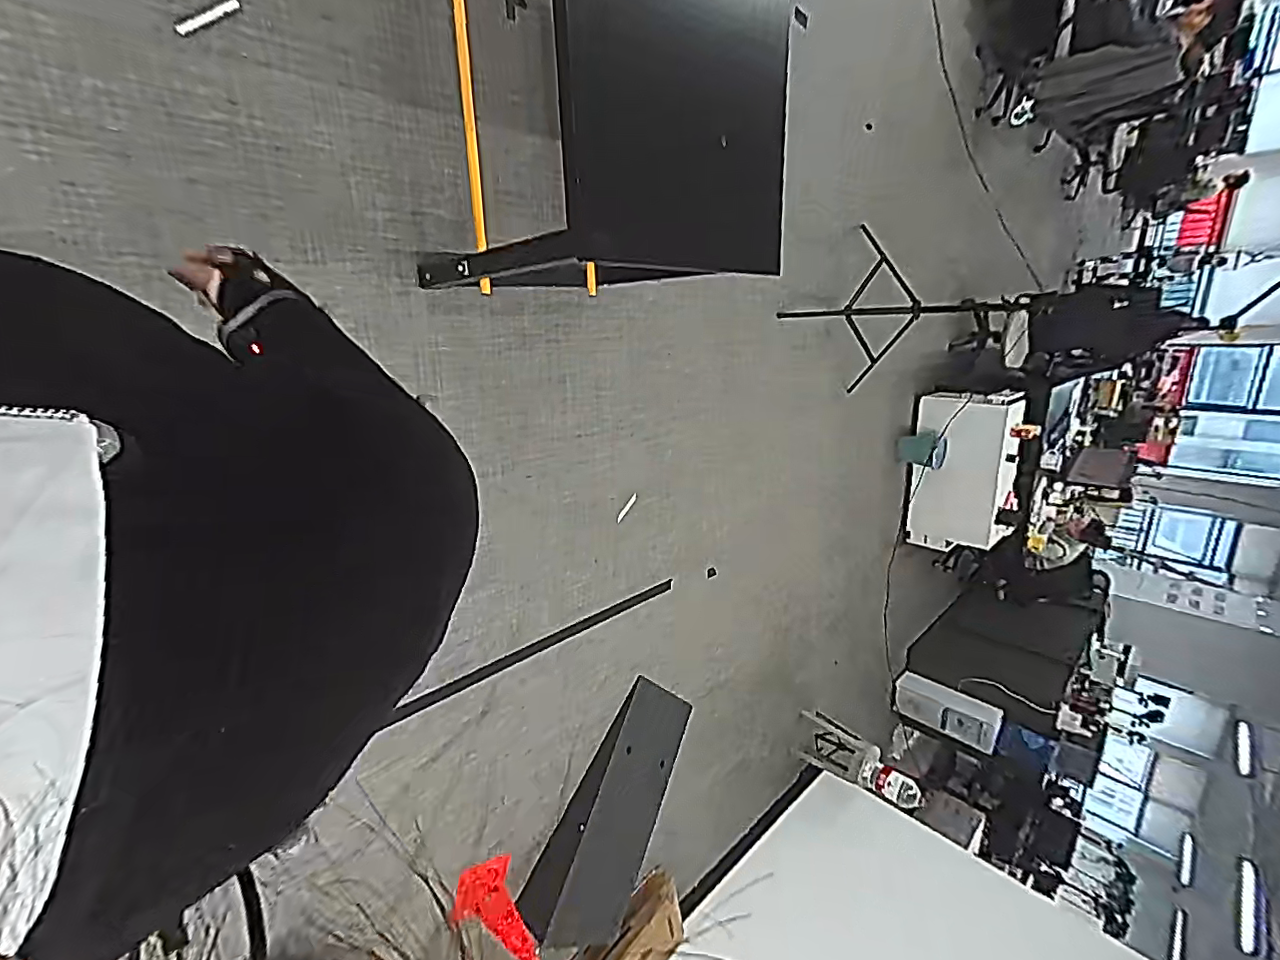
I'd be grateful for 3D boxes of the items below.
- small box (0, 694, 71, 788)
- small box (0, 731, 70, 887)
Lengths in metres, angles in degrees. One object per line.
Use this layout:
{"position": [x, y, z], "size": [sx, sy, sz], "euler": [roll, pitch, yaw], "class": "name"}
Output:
{"position": [-1.194, 0.523, 1.000], "size": [0.168, 0.176, 0.179], "euler": [-13, 109, -41], "class": "small box"}
{"position": [-1.078, 0.553, 0.885], "size": [0.179, 0.176, 0.168], "euler": [-15, 110, -40], "class": "small box"}
